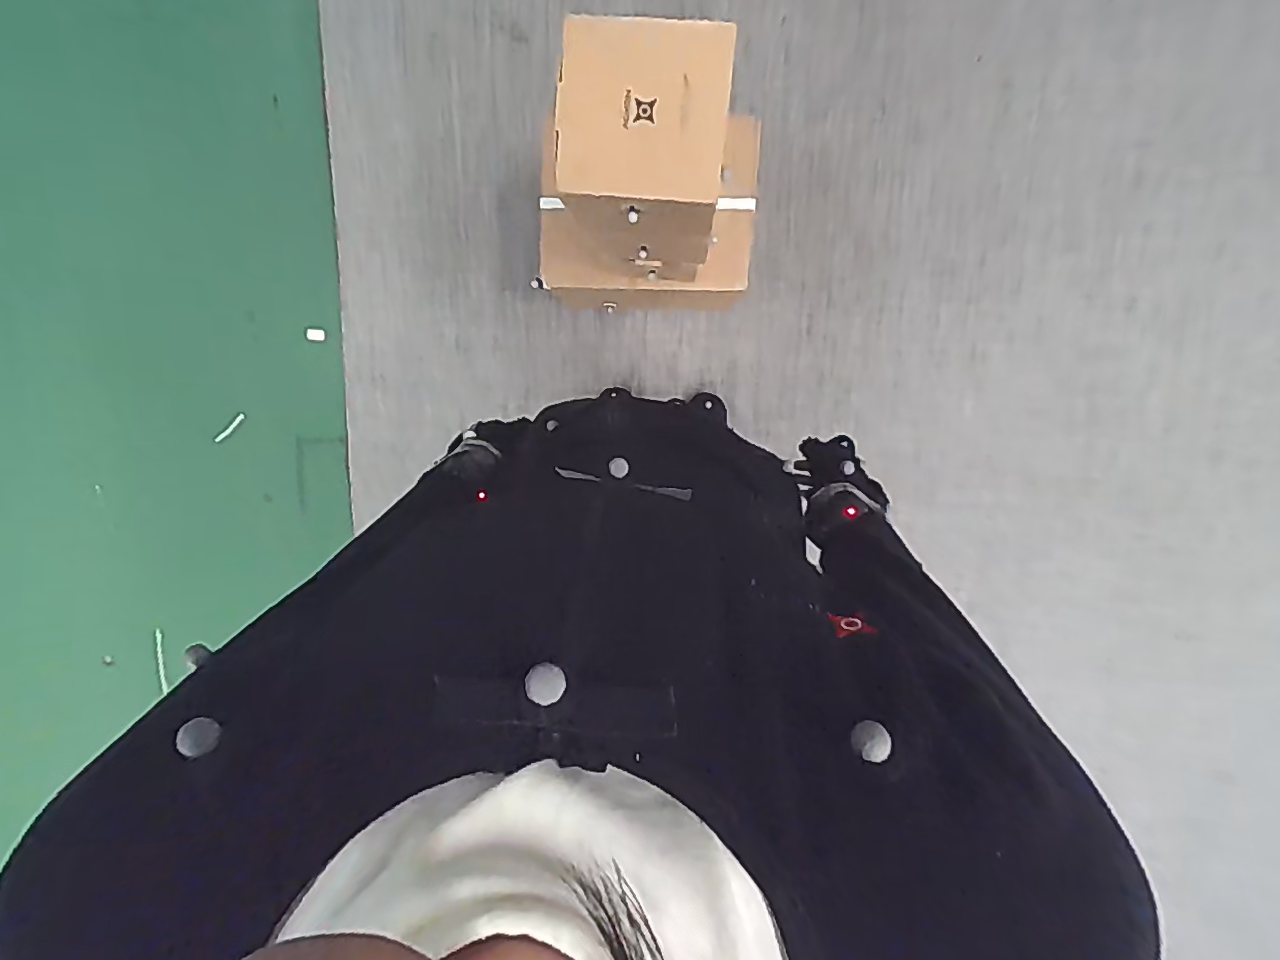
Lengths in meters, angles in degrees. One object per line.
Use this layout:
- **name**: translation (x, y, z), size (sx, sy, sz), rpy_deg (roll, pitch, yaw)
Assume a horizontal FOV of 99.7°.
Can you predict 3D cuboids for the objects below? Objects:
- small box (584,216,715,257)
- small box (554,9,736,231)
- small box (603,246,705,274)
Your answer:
- **small box**: translation (0.026, -0.428, 0.782), size (0.179, 0.176, 0.168), rpy_deg (6, 102, 7)
- **small box**: translation (0.009, -0.396, 0.624), size (0.179, 0.176, 0.168), rpy_deg (5, 103, 4)
- **small box**: translation (0.036, -0.464, 0.942), size (0.168, 0.176, 0.179), rpy_deg (6, 103, 5)
